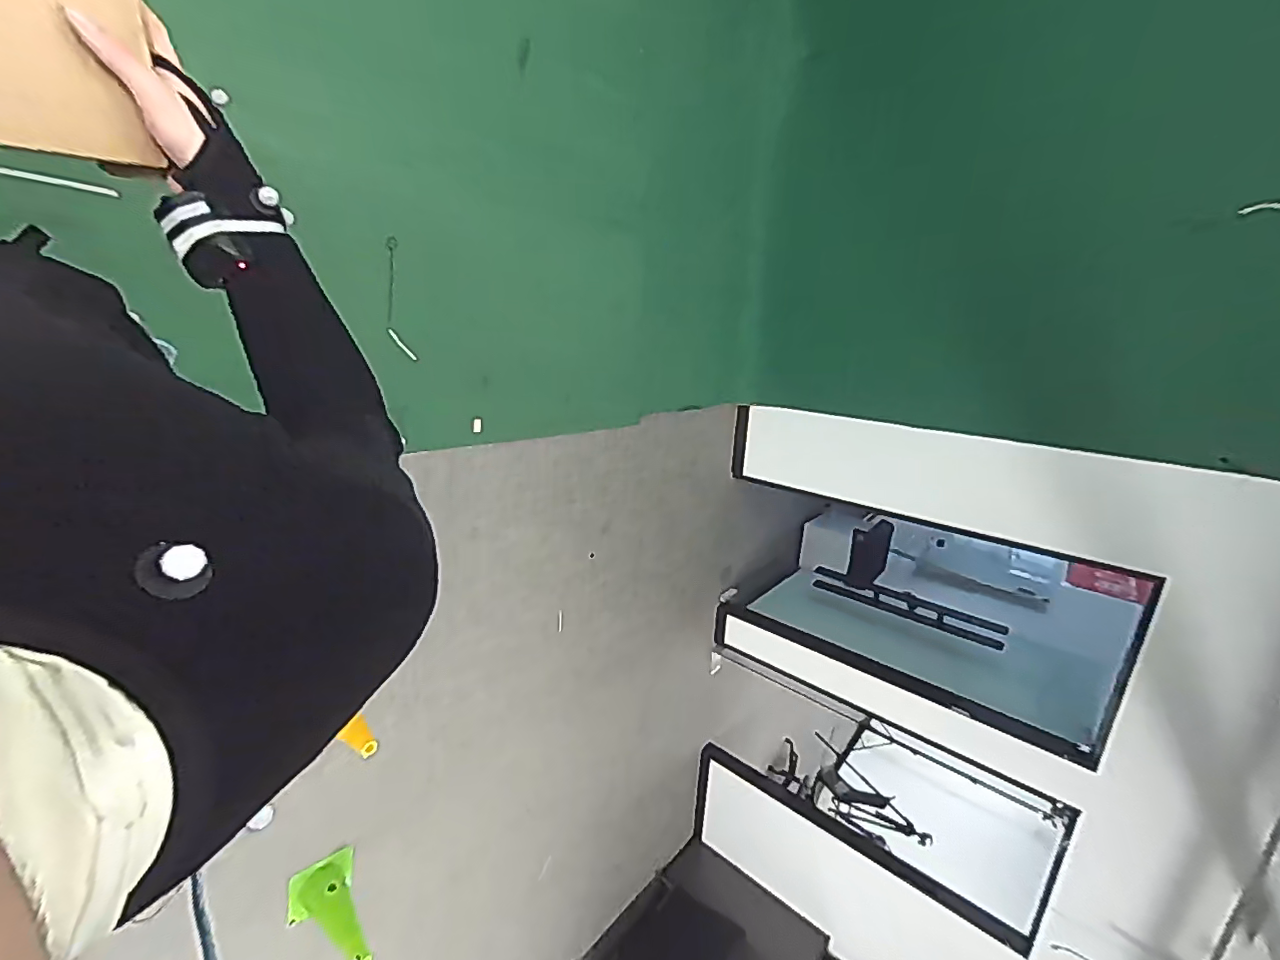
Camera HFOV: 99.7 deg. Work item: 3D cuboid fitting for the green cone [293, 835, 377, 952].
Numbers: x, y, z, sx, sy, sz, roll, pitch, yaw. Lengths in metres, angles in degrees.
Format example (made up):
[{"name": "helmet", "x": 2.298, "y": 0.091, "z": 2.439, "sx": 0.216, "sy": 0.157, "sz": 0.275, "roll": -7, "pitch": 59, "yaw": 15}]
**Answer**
[{"name": "green cone", "x": -0.968, "y": 1.408, "z": 1.783, "sx": 0.200, "sy": 0.368, "sz": 0.202, "roll": -7, "pitch": 107, "yaw": -51}]
